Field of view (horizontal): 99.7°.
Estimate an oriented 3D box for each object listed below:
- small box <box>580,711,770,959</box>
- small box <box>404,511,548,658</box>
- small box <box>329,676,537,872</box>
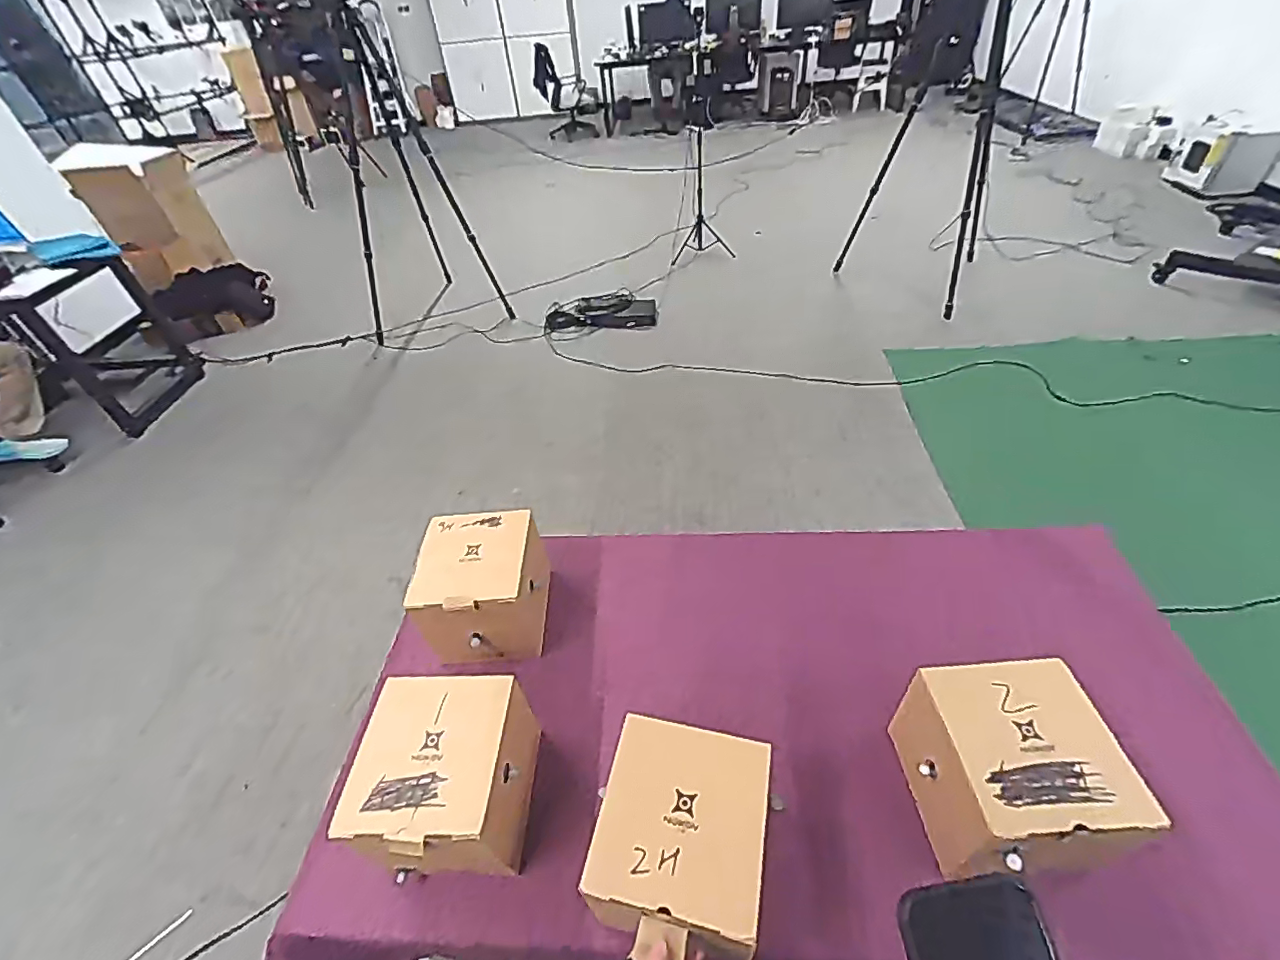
[{"bbox_3d":[0.047,0.393,0.601,0.168,0.176,0.179,6,44,14],"label":"small box"},{"bbox_3d":[-0.249,0.173,0.872,0.168,0.176,0.179,-4,44,2],"label":"small box"},{"bbox_3d":[-0.234,0.364,0.669,0.168,0.176,0.179,-2,42,4],"label":"small box"}]
